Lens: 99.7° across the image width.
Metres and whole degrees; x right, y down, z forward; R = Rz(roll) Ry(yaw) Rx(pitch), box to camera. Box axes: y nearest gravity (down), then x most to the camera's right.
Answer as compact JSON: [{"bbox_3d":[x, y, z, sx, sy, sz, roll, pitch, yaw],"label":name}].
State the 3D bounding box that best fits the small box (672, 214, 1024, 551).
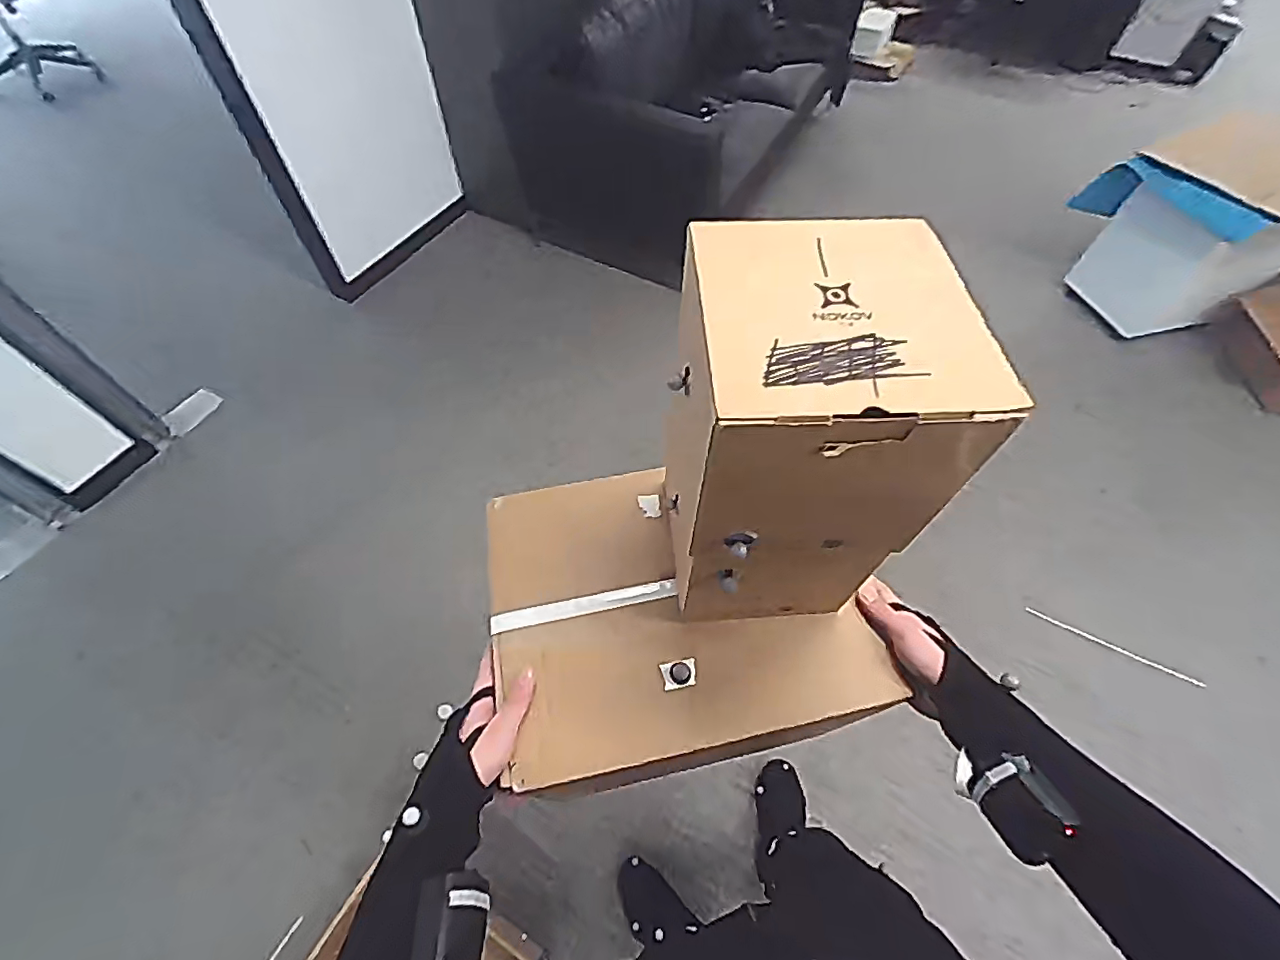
[{"bbox_3d":[0.110,-0.058,0.380,0.168,0.176,0.179,-1,57,-1],"label":"small box"}]
